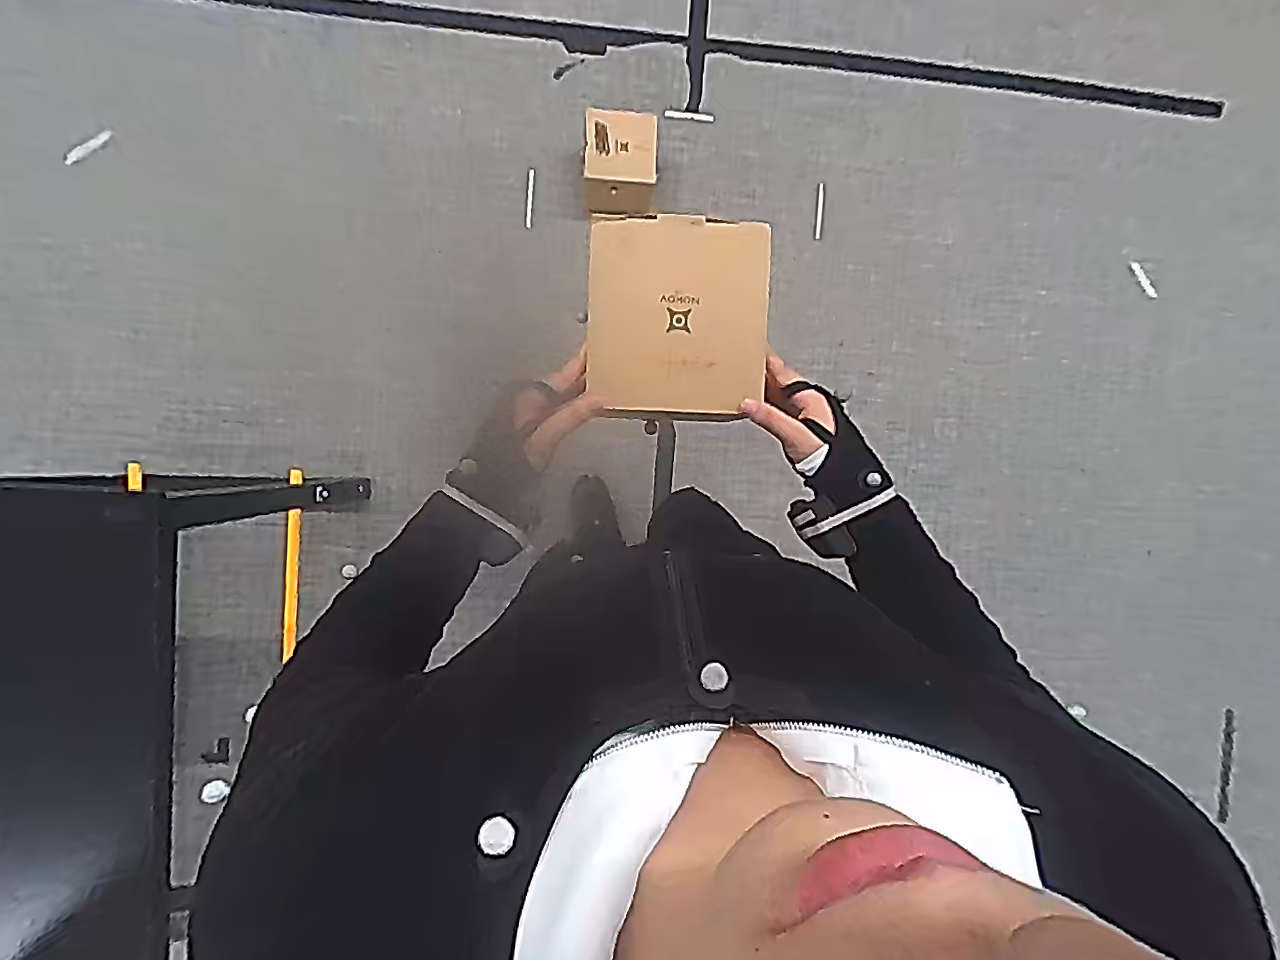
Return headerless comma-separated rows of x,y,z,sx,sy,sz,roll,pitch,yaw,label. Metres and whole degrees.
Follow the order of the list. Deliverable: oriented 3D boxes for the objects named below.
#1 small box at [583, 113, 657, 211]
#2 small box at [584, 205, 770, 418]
-0.054,-0.801,1.386,0.179,0.176,0.168,1,92,-5,small box
0.029,-0.161,0.571,0.168,0.176,0.179,2,94,-3,small box
